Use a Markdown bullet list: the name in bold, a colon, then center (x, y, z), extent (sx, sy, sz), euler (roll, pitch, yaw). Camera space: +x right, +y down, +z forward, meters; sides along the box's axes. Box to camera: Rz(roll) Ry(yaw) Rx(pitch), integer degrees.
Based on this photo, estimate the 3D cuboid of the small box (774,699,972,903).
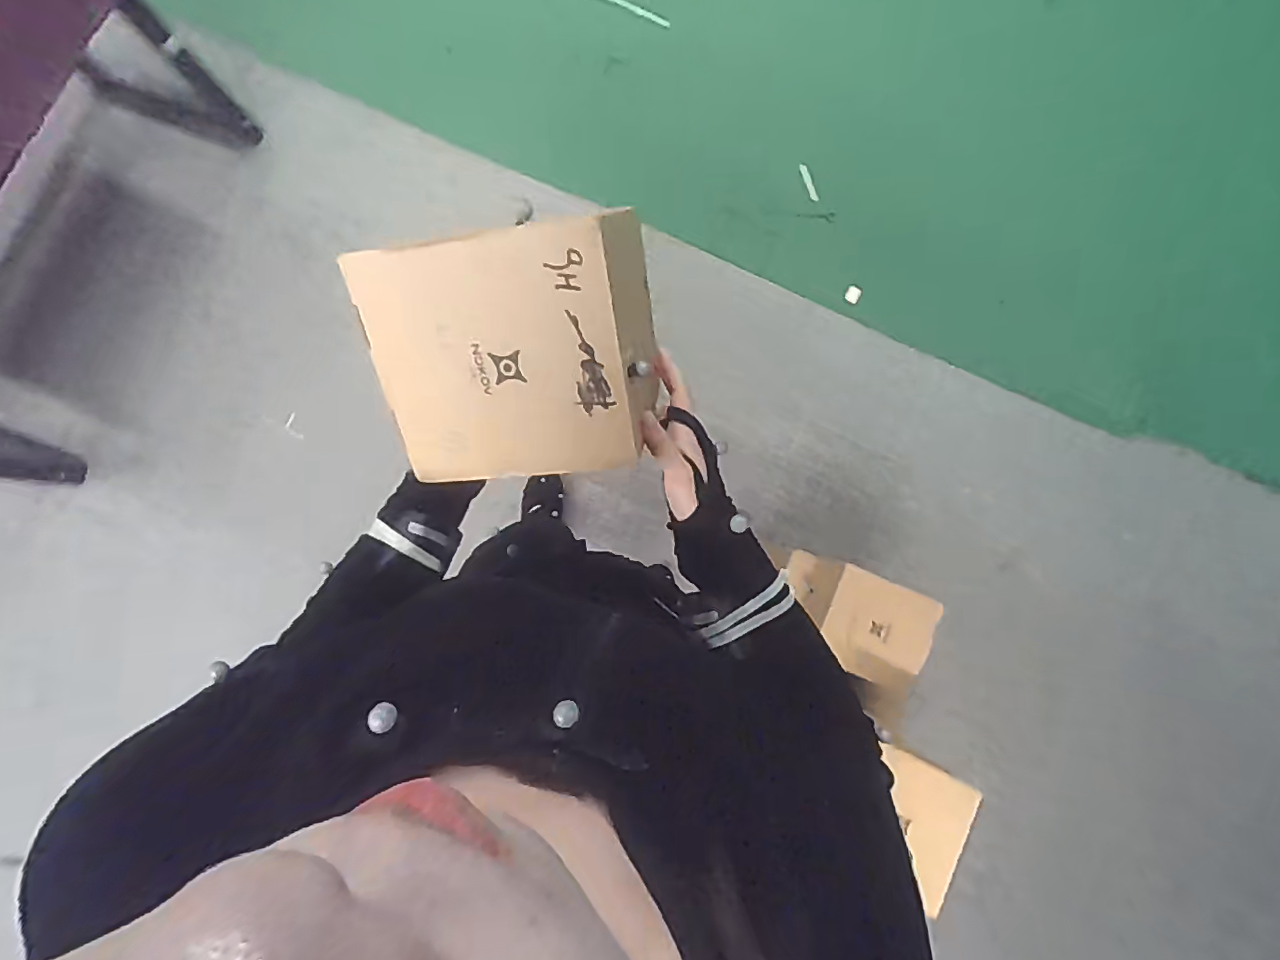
- **small box**: center (0.323, 0.446, 0.785), extent (0.179, 0.176, 0.168), euler (28, 82, 2)
